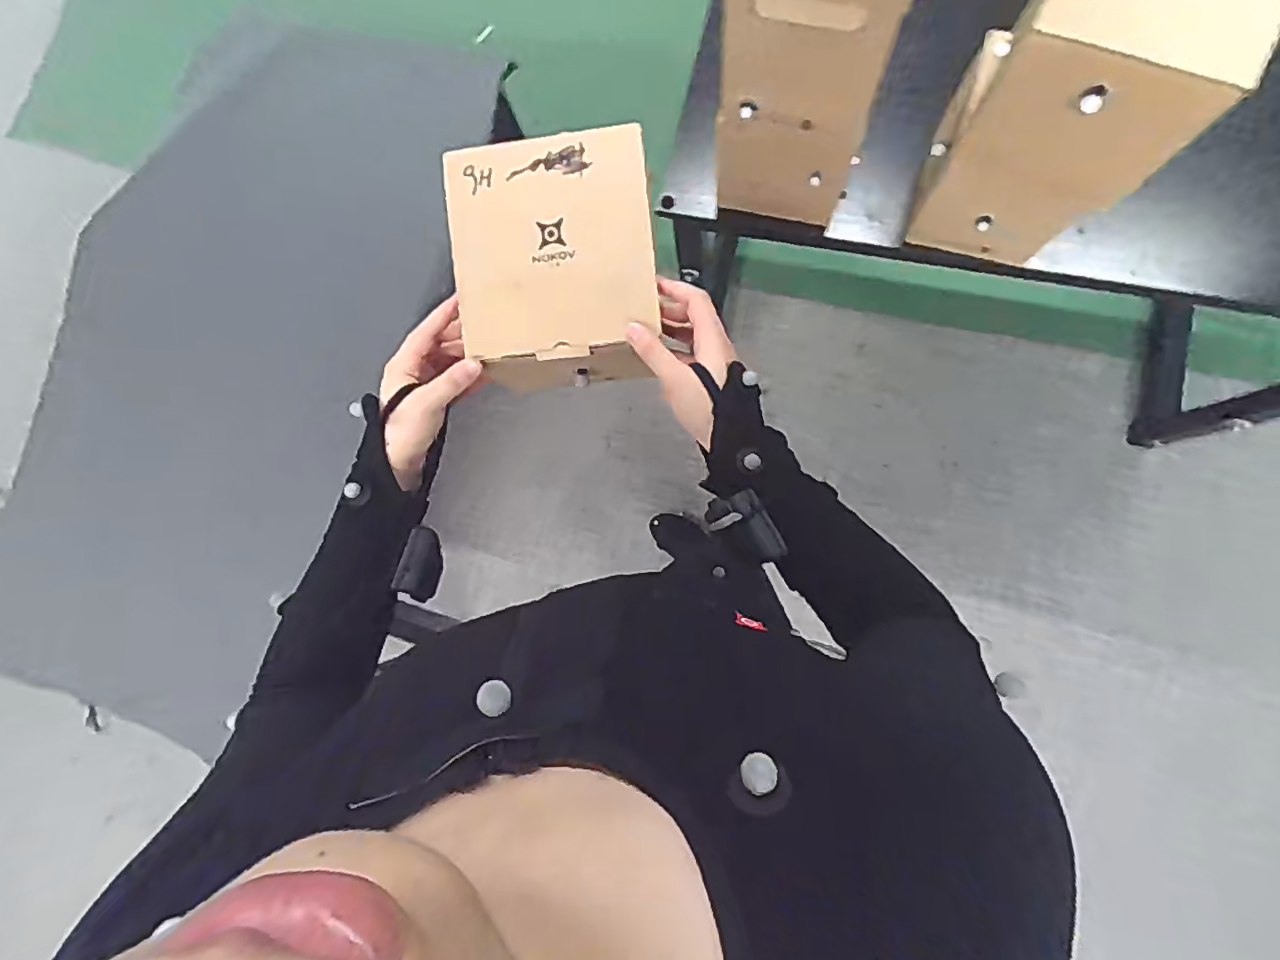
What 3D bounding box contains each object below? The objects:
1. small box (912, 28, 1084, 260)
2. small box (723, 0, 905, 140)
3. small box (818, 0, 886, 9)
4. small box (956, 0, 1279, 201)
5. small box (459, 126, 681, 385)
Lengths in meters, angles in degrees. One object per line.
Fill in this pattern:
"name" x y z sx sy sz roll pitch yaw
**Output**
"small box" 0.471 -0.411 0.688 0.168 0.176 0.179 17 86 10
"small box" 0.191 -0.505 0.573 0.168 0.176 0.179 17 85 9
"small box" 0.167 -0.516 0.413 0.179 0.176 0.168 17 84 10
"small box" 0.455 -0.409 0.524 0.179 0.176 0.168 26 88 10
"small box" -0.051 -0.188 0.512 0.168 0.176 0.179 -6 92 5
